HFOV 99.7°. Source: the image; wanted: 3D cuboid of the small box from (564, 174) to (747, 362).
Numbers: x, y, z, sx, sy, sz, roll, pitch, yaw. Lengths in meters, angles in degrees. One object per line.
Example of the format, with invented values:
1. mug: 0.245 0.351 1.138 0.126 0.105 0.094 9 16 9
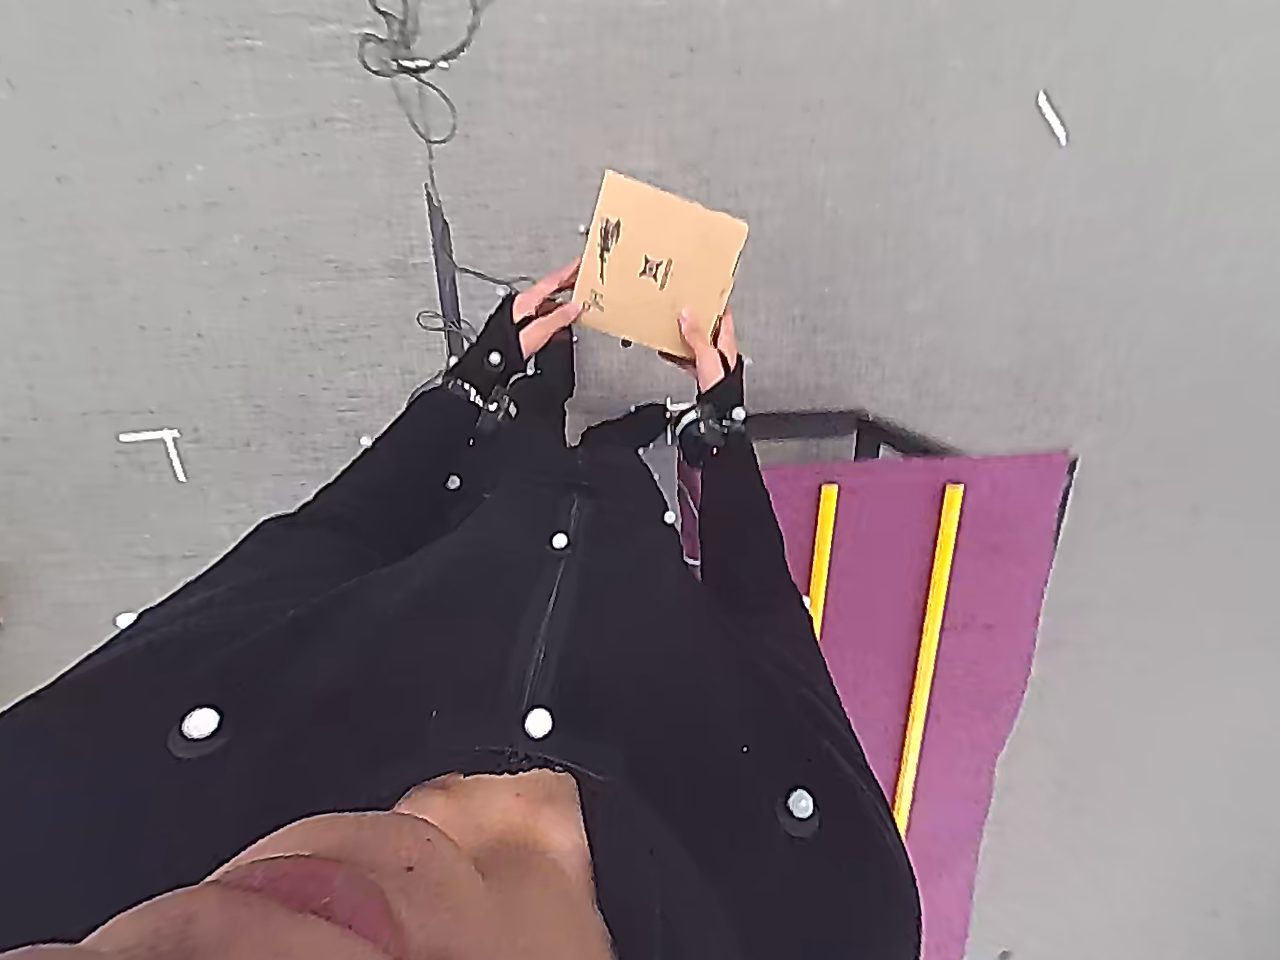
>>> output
1. small box: 0.009 -0.264 0.695 0.179 0.176 0.168 14 107 -10
